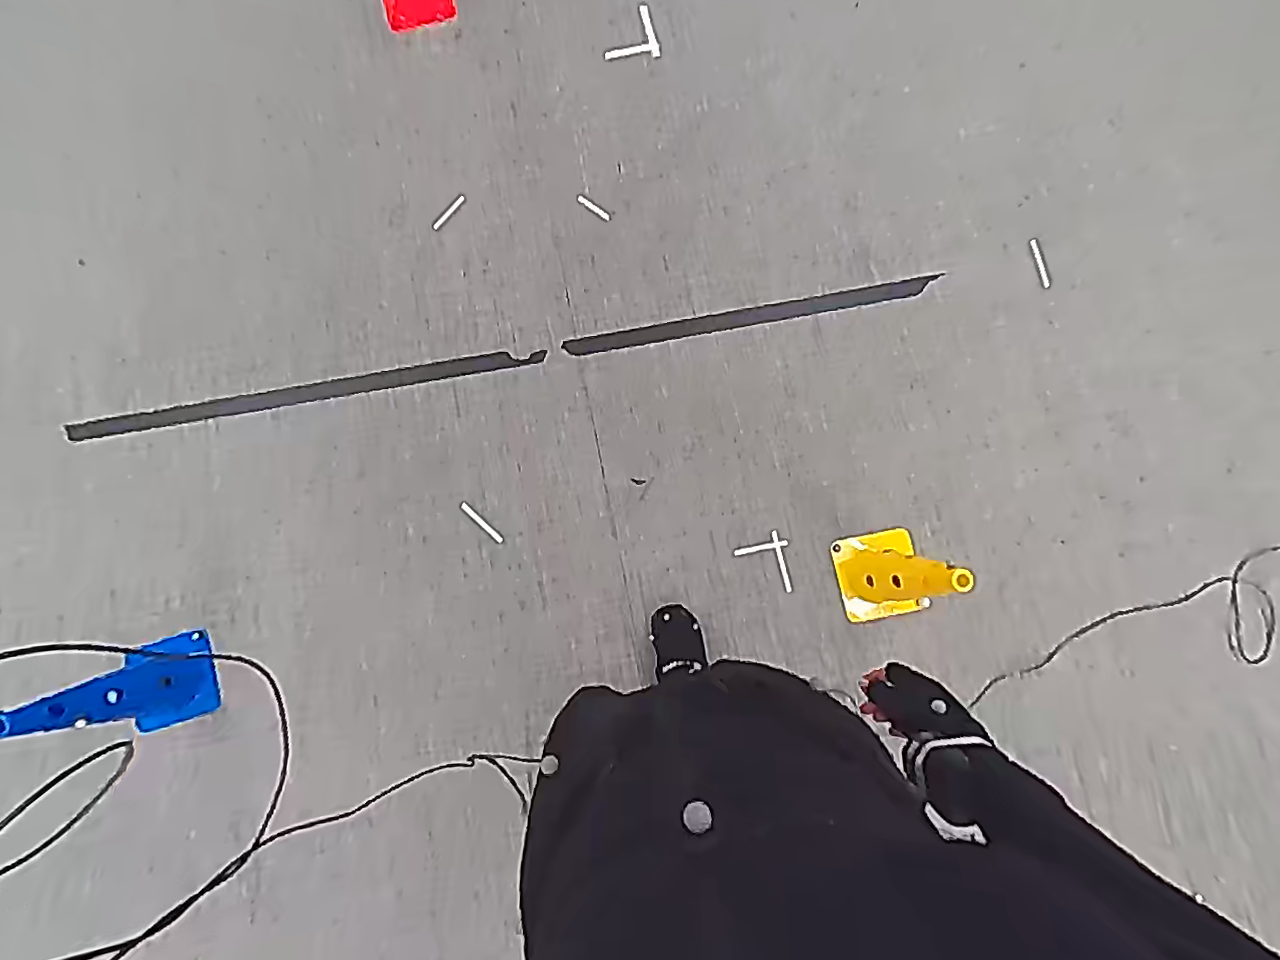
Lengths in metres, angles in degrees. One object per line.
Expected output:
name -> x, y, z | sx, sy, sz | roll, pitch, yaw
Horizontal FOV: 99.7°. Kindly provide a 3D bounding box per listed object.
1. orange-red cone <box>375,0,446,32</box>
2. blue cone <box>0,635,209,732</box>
orange-red cone -> -0.677, -1.426, 1.403 | 0.199, 0.360, 0.198 | -16, 81, -1
blue cone -> -1.125, 0.459, 1.121 | 0.193, 0.380, 0.192 | -16, 81, -2
